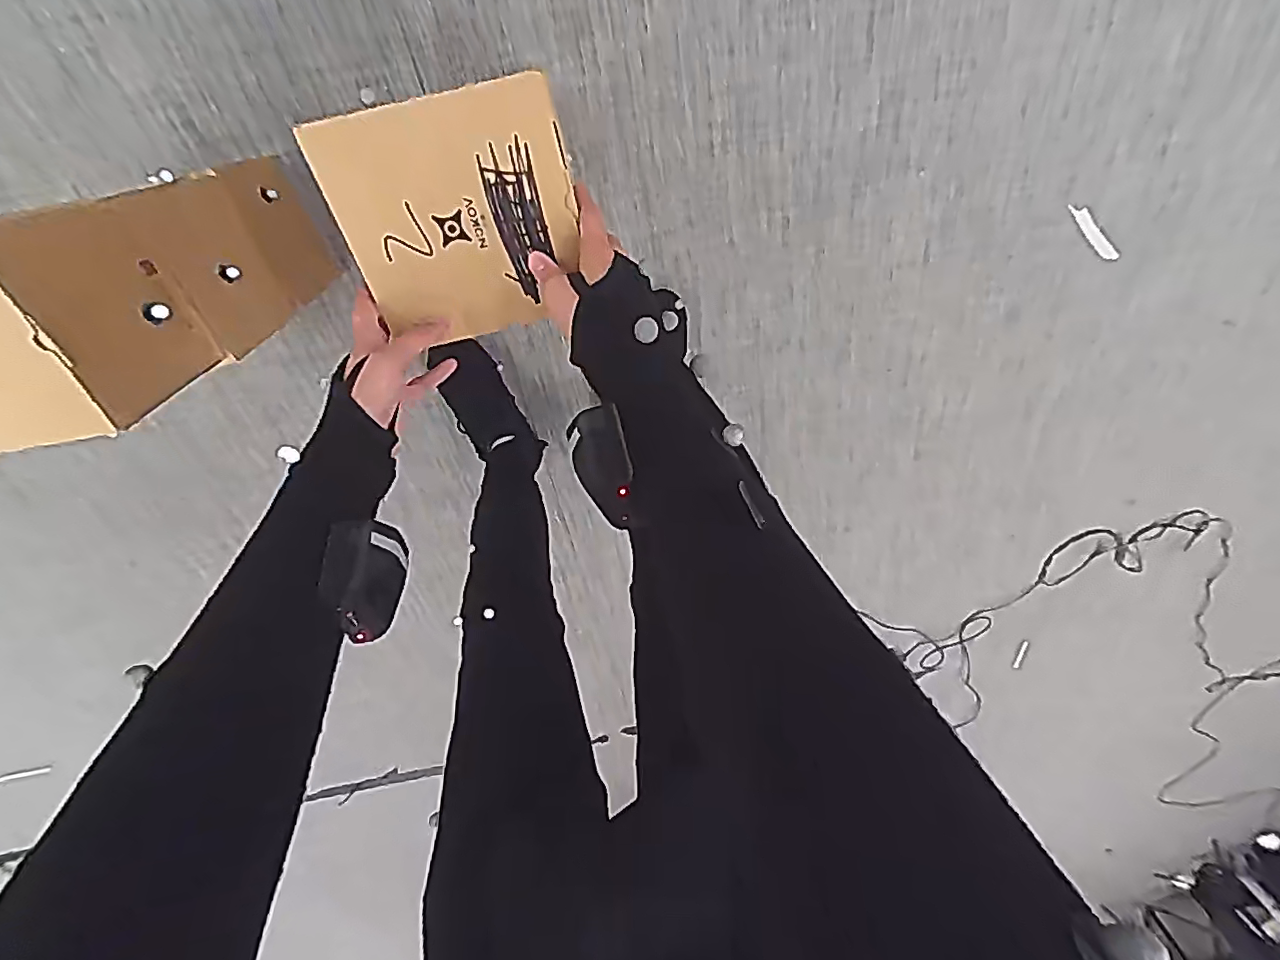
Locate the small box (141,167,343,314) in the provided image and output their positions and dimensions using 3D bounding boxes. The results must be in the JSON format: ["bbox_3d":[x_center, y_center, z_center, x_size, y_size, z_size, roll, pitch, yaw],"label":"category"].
[{"bbox_3d":[-0.561,-0.322,0.758,0.168,0.176,0.179,-16,126,4],"label":"small box"}]

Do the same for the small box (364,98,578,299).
[{"bbox_3d":[-0.173,-0.322,0.610,0.179,0.176,0.168,-10,125,-2],"label":"small box"}]

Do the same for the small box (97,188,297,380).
[{"bbox_3d":[-0.550,-0.223,0.628,0.168,0.176,0.179,-14,126,3],"label":"small box"}]

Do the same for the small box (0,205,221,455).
[{"bbox_3d":[-0.546,-0.137,0.489,0.179,0.176,0.168,-10,125,0],"label":"small box"}]
